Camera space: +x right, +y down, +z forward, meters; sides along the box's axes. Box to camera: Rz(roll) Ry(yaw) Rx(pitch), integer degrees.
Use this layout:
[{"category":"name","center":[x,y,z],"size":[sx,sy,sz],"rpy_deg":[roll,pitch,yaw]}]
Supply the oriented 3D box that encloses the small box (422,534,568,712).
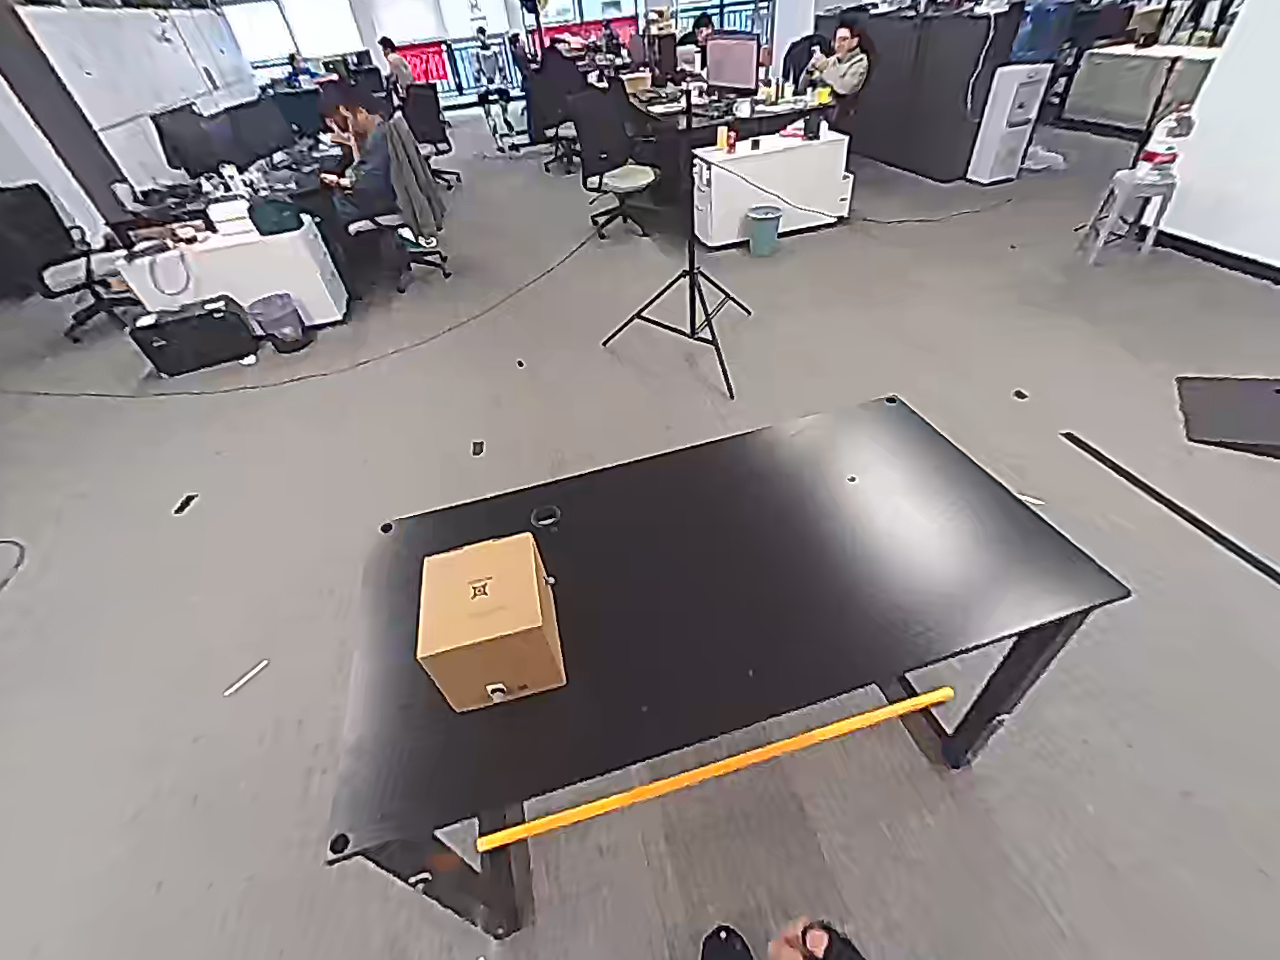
[{"category":"small box","center":[-0.213,0.214,0.815],"size":[0.168,0.176,0.179],"rpy_deg":[-14,43,-6]}]
